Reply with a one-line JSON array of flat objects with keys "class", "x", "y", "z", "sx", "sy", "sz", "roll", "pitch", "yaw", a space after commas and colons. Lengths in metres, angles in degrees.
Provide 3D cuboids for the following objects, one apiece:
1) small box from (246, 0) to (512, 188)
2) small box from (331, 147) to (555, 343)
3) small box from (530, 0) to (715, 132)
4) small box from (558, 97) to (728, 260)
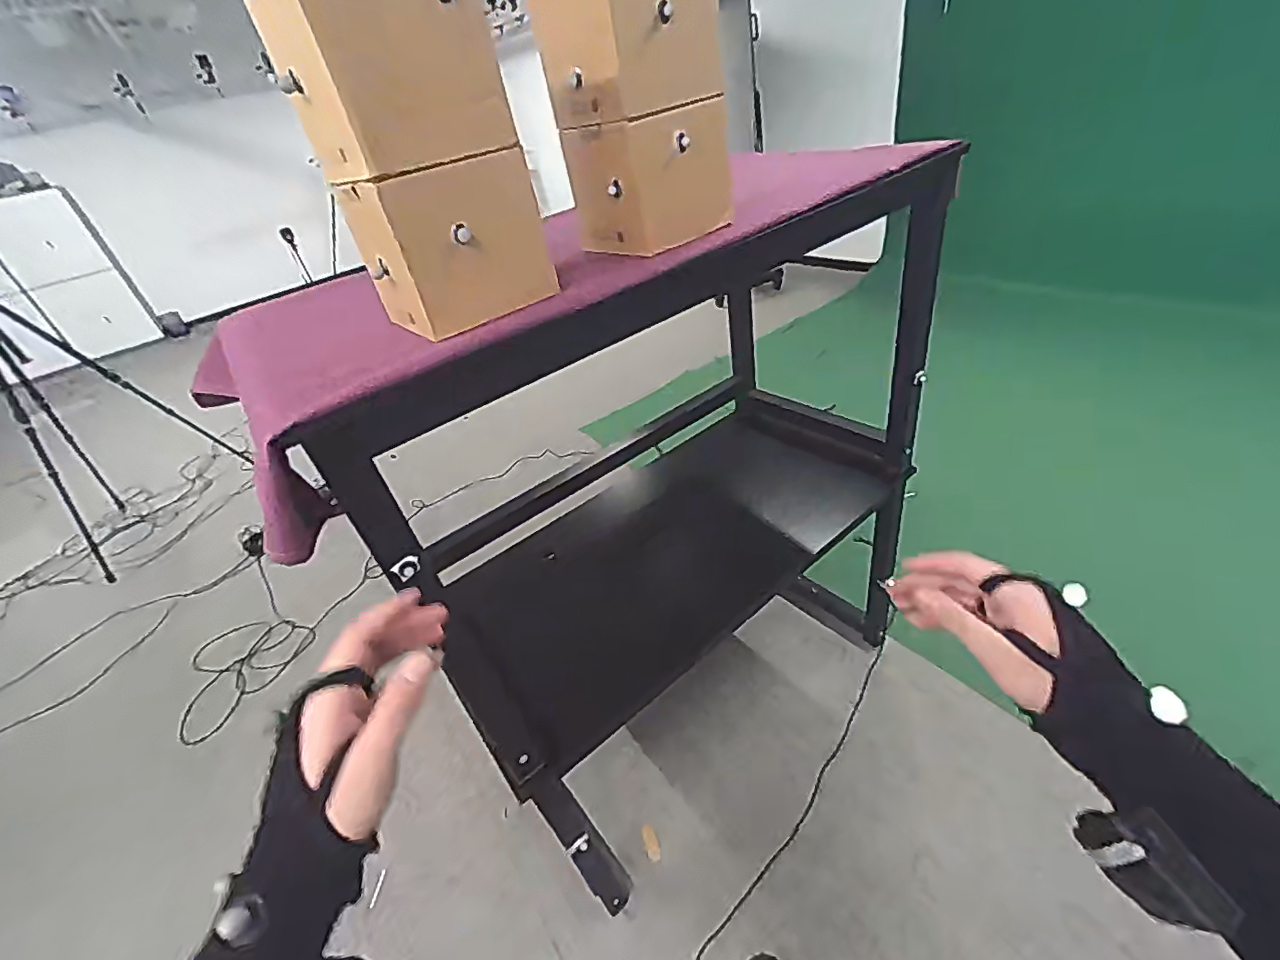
[{"class": "small box", "x": -0.265, "y": -0.415, "z": 0.568, "sx": 0.179, "sy": 0.176, "sz": 0.168, "roll": -33, "pitch": 39, "yaw": -27}, {"class": "small box", "x": -0.232, "y": -0.284, "z": 0.660, "sx": 0.179, "sy": 0.176, "sz": 0.168, "roll": -34, "pitch": 40, "yaw": -26}, {"class": "small box", "x": -0.018, "y": -0.565, "z": 0.697, "sx": 0.179, "sy": 0.176, "sz": 0.168, "roll": -34, "pitch": 41, "yaw": -25}, {"class": "small box", "x": 0.013, "y": -0.435, "z": 0.792, "sx": 0.179, "sy": 0.176, "sz": 0.168, "roll": -33, "pitch": 40, "yaw": -25}]
